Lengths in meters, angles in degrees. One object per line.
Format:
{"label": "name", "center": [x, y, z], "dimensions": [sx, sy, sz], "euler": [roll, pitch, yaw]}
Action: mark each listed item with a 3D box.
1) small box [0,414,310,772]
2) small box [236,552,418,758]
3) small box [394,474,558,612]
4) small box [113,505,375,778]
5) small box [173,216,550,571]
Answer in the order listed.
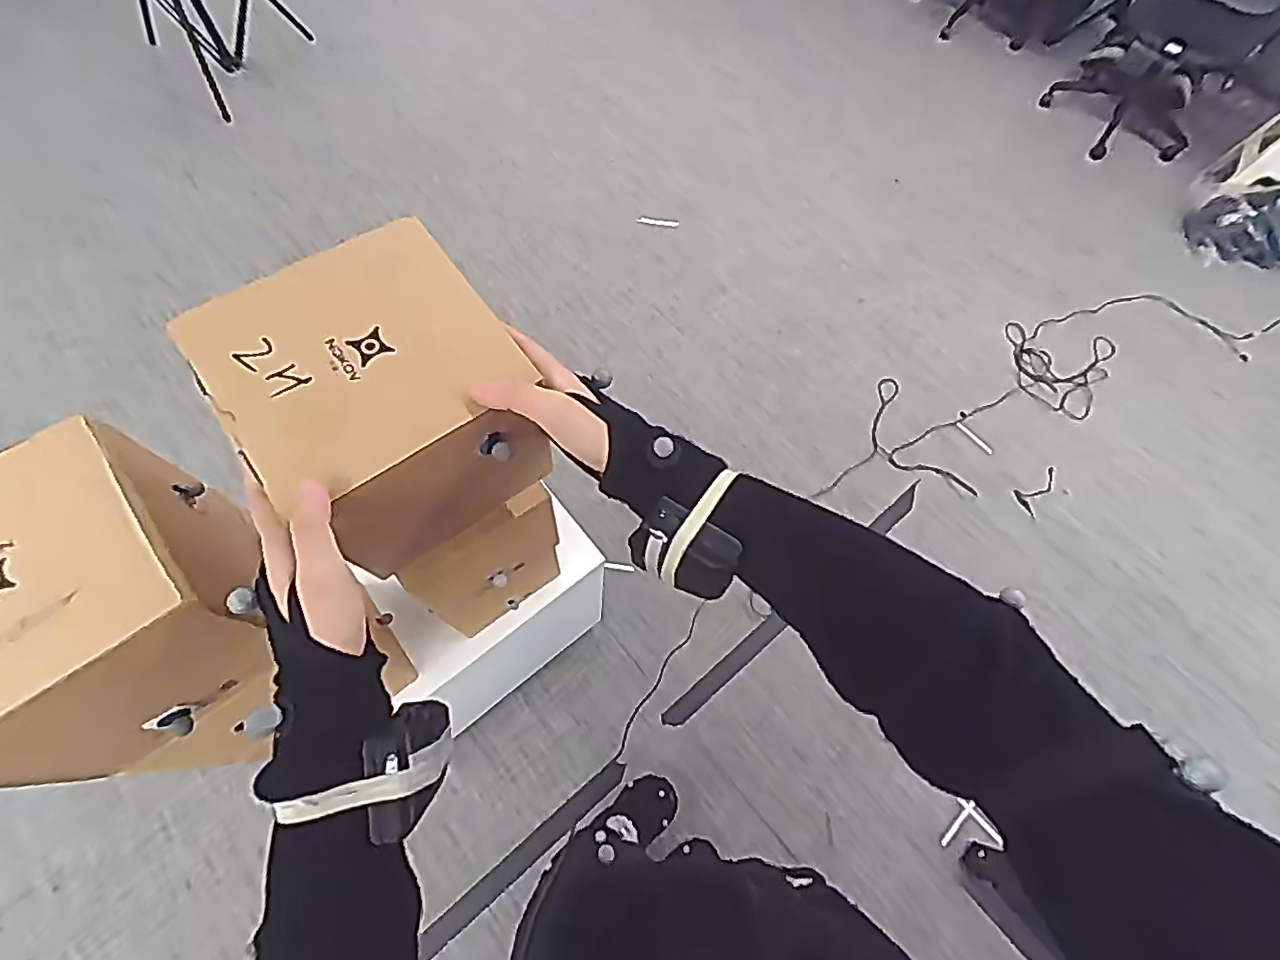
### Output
{"label": "small box", "center": [-0.394, 0.092, 0.399], "dimensions": [0.168, 0.176, 0.179], "euler": [-38, 74, -18]}
{"label": "small box", "center": [-0.419, 0.227, 0.693], "dimensions": [0.168, 0.176, 0.179], "euler": [-36, 72, -18]}
{"label": "small box", "center": [-0.210, 0.027, 0.619], "dimensions": [0.168, 0.176, 0.179], "euler": [-34, 74, -17]}
{"label": "small box", "center": [-0.406, 0.161, 0.545], "dimensions": [0.168, 0.176, 0.179], "euler": [-37, 73, -19]}
{"label": "small box", "center": [-0.185, -0.054, 0.419], "dimensions": [0.179, 0.176, 0.168], "euler": [-35, 76, -17]}
